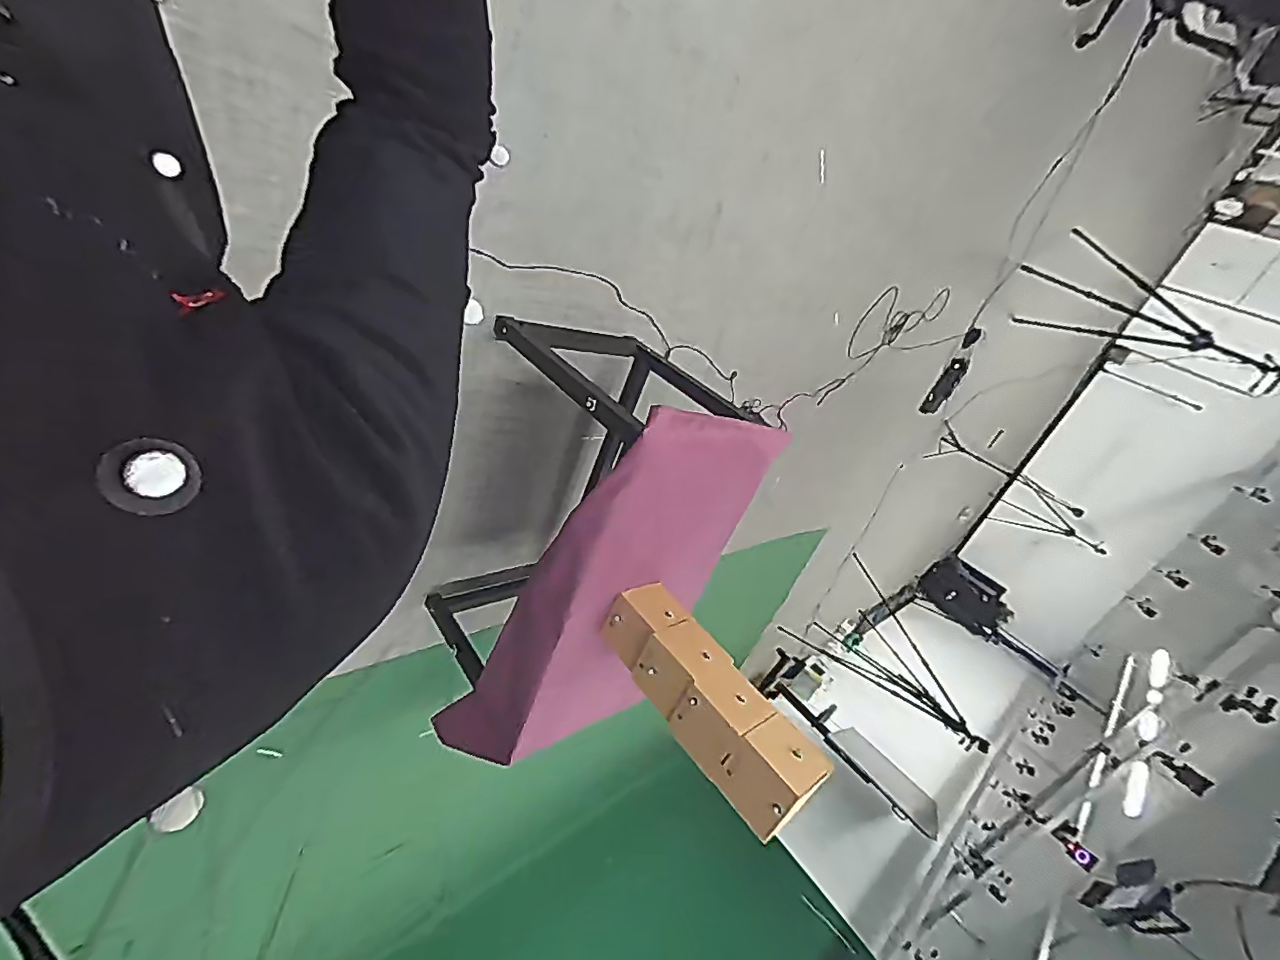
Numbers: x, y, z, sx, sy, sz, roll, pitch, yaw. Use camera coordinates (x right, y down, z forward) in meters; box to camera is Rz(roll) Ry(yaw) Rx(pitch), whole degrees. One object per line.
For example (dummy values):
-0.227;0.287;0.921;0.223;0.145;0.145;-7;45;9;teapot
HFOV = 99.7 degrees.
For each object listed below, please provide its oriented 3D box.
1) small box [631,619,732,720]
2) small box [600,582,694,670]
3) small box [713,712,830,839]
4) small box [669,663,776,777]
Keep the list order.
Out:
0.109;0.502;1.462;0.179;0.176;0.168;-3;124;-46;small box
0.017;0.415;1.567;0.179;0.176;0.168;-1;123;-47;small box
0.307;0.684;1.274;0.179;0.176;0.168;-1;123;-48;small box
0.202;0.595;1.364;0.179;0.176;0.168;-3;125;-47;small box
